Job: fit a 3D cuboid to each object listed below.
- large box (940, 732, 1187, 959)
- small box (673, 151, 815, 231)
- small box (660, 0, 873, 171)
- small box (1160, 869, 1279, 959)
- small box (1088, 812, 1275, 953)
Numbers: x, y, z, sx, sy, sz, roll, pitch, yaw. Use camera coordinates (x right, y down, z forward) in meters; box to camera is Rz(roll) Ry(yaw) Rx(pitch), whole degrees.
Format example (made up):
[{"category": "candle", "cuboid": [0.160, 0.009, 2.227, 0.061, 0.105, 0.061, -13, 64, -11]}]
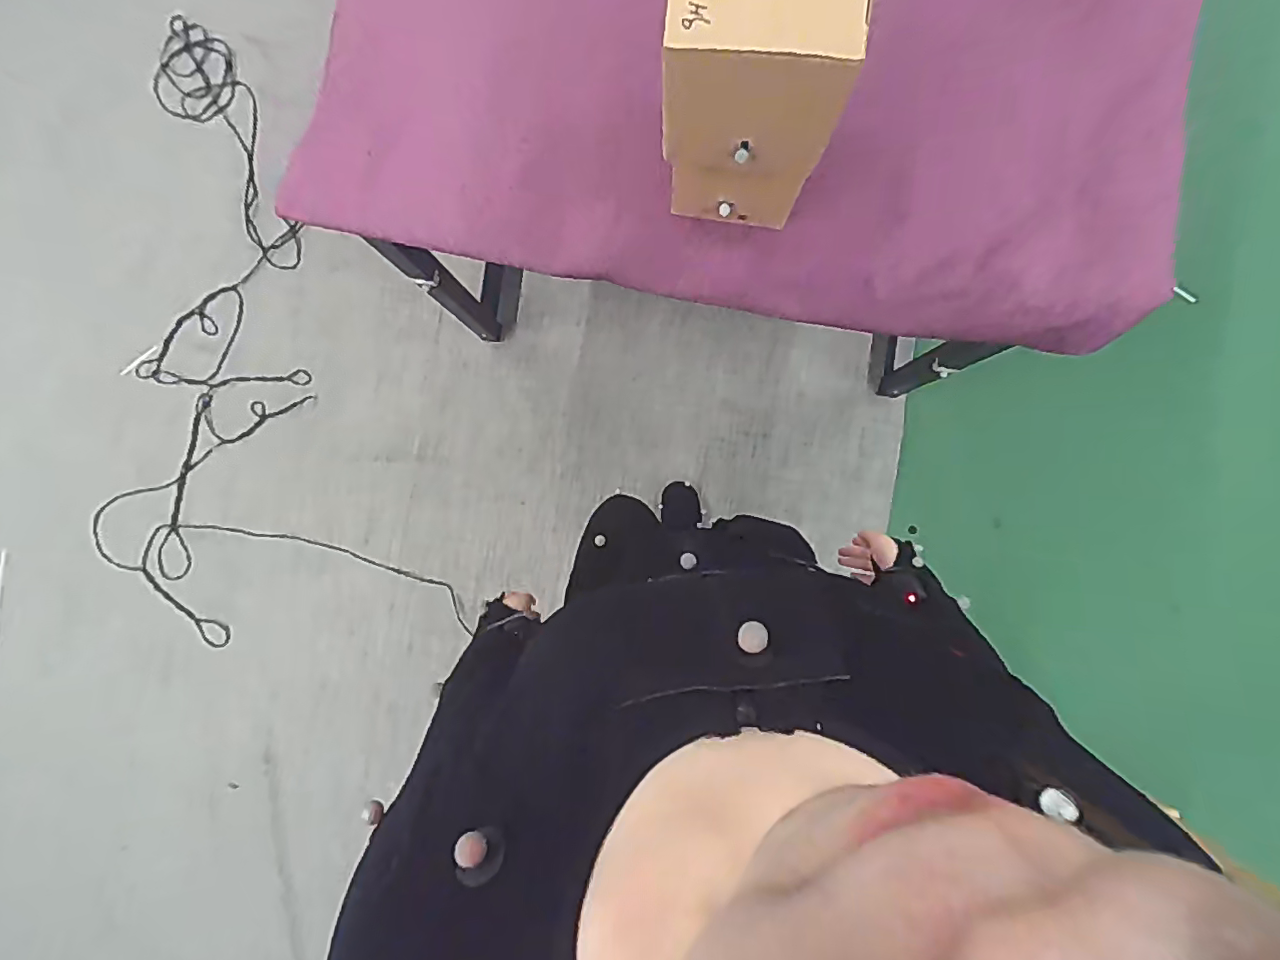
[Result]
[{"category": "large box", "cuboid": [0.965, 0.877, 1.277, 0.320, 0.320, 0.408, 10, 89, 4]}, {"category": "small box", "cuboid": [0.136, -0.458, 0.702, 0.168, 0.176, 0.179, 10, 89, 3]}, {"category": "small box", "cuboid": [0.116, -0.438, 0.538, 0.179, 0.176, 0.168, 7, 89, 3]}, {"category": "small box", "cuboid": [1.012, 0.772, 0.870, 0.179, 0.176, 0.168, 9, 89, 3]}, {"category": "small box", "cuboid": [1.022, 0.774, 1.035, 0.179, 0.176, 0.168, 10, 89, 3]}]
